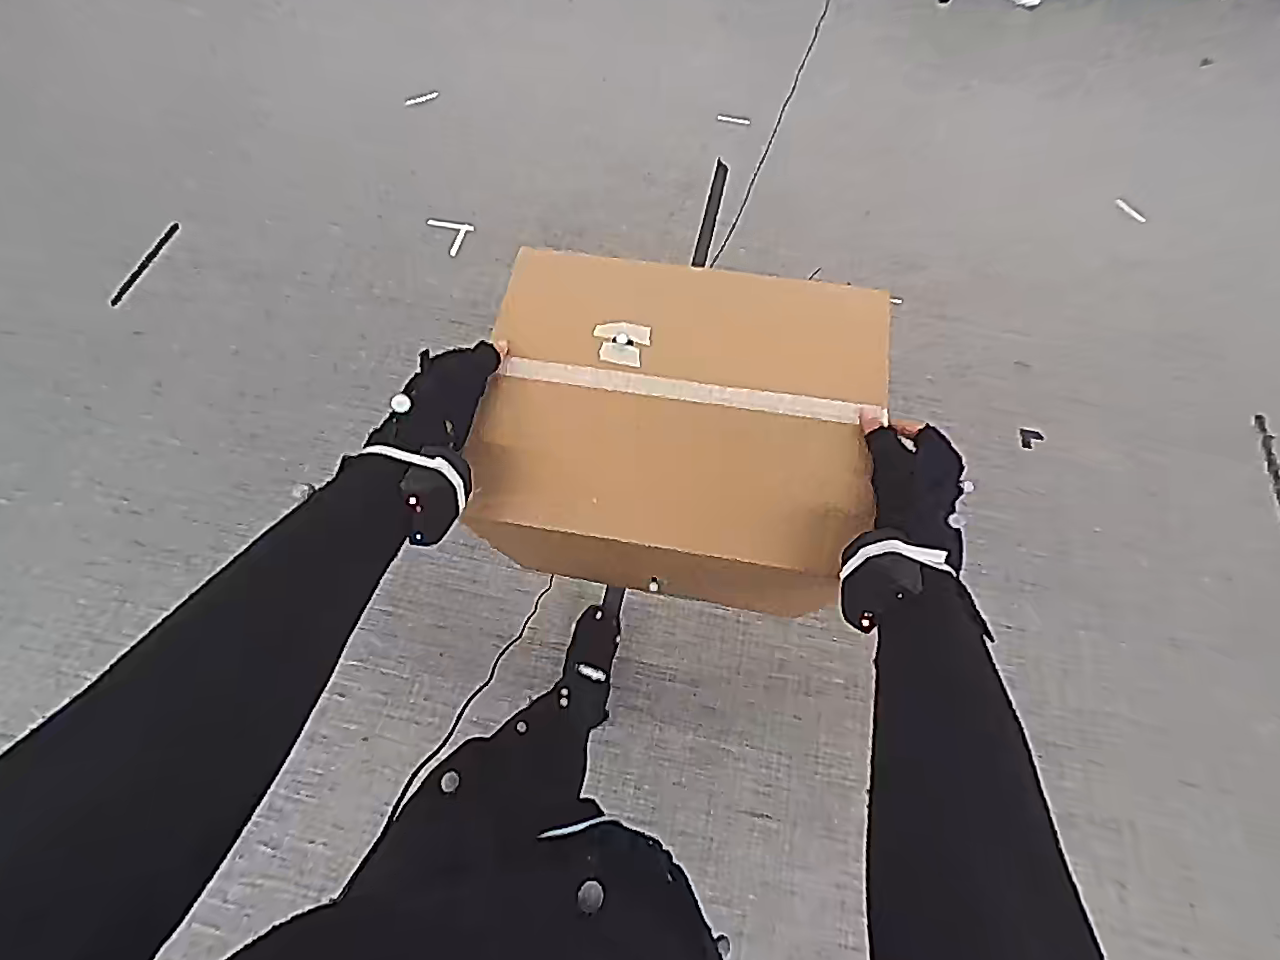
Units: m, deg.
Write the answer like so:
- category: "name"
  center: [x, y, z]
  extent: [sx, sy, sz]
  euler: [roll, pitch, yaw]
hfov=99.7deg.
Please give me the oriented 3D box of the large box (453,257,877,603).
- category: "large box"
  center: [0.046, -0.039, 0.694]
  extent: [0.408, 0.320, 0.320]
  euler: [9, 70, 6]
